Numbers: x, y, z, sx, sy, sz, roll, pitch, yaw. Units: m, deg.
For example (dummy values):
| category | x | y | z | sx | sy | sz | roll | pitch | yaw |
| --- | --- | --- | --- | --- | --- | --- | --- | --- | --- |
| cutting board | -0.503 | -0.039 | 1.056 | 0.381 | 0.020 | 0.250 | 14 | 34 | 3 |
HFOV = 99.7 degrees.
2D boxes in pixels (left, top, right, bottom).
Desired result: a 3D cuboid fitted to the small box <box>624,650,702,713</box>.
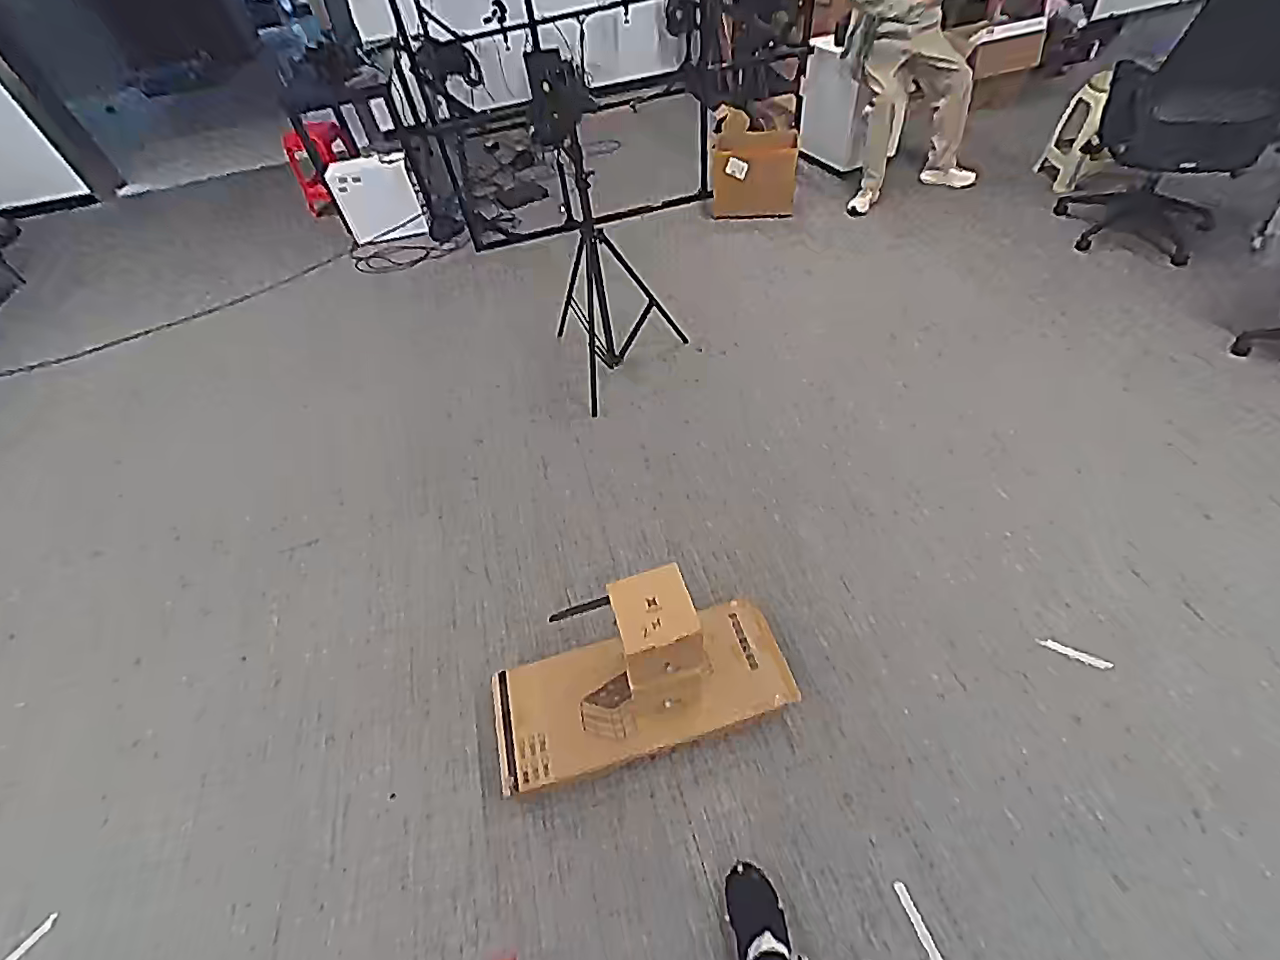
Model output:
| category | x | y | z | sx | sy | sz | roll | pitch | yaw |
| --- | --- | --- | --- | --- | --- | --- | --- | --- | --- |
| small box | 0.051 | 0.442 | 1.322 | 0.168 | 0.176 | 0.179 | -13 | 50 | -3 |

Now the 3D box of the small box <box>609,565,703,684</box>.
| category | x | y | z | sx | sy | sz | roll | pitch | yaw |
| --- | --- | --- | --- | --- | --- | --- | --- | --- | --- |
| small box | 0.036 | 0.323 | 1.207 | 0.168 | 0.176 | 0.179 | -16 | 49 | -6 |
